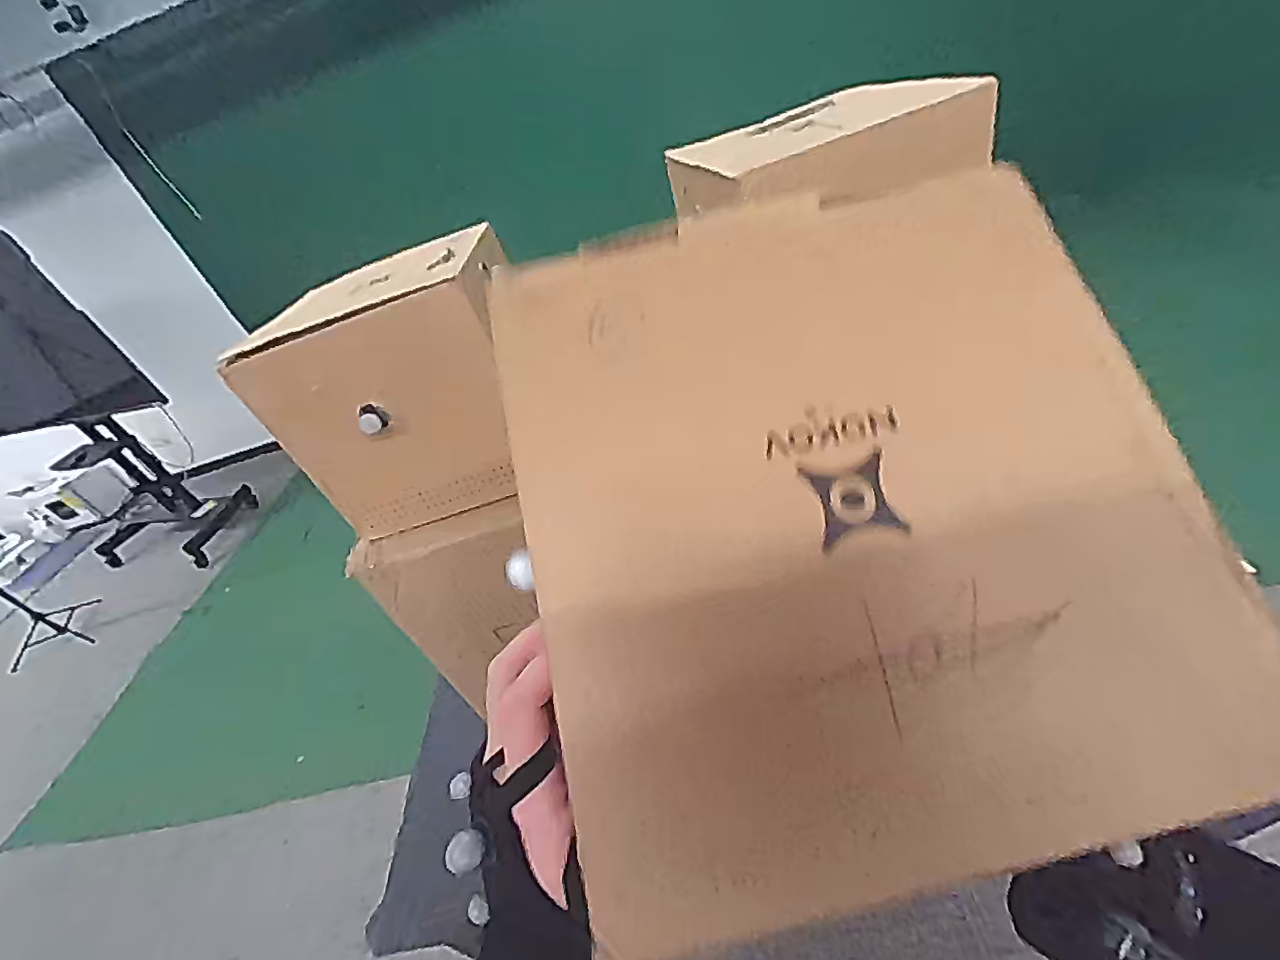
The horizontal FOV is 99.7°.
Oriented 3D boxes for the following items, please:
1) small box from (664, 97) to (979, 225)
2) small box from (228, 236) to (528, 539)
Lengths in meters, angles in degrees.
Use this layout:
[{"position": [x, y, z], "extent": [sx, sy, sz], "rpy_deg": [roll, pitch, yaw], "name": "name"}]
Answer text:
[{"position": [0.133, -0.182, 0.437], "extent": [0.168, 0.176, 0.179], "rpy_deg": [-20, 36, 0], "name": "small box"}, {"position": [-0.176, -0.076, 0.459], "extent": [0.179, 0.176, 0.168], "rpy_deg": [-19, 36, 7], "name": "small box"}]
